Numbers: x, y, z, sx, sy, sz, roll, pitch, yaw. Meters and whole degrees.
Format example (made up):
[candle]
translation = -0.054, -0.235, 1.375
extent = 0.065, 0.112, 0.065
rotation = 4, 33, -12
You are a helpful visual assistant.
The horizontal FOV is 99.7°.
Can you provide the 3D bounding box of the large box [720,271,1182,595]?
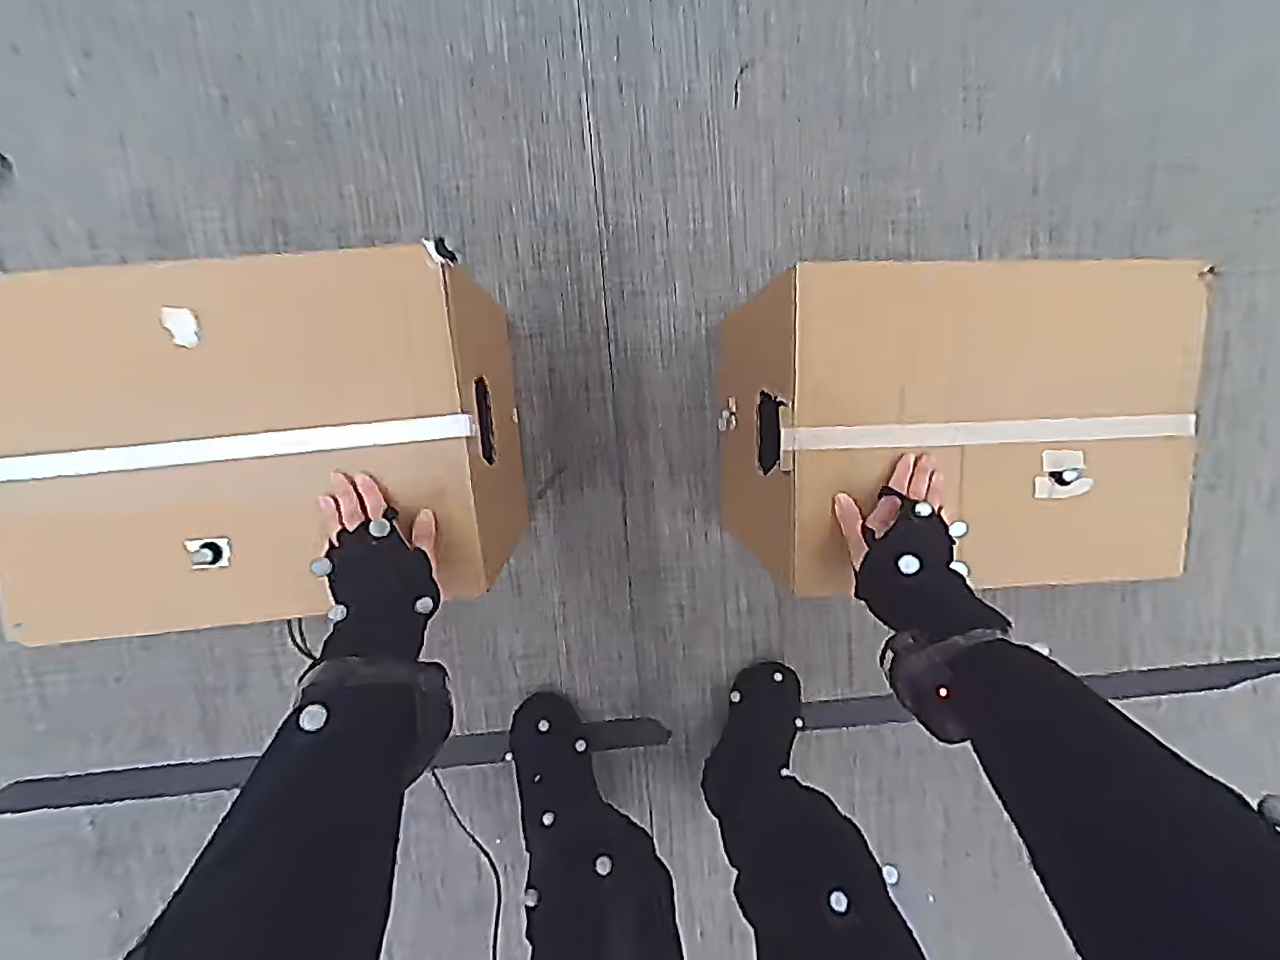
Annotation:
[large box]
translation = 0.333, -0.061, 0.684
extent = 0.408, 0.320, 0.320
rotation = -2, 97, -5
